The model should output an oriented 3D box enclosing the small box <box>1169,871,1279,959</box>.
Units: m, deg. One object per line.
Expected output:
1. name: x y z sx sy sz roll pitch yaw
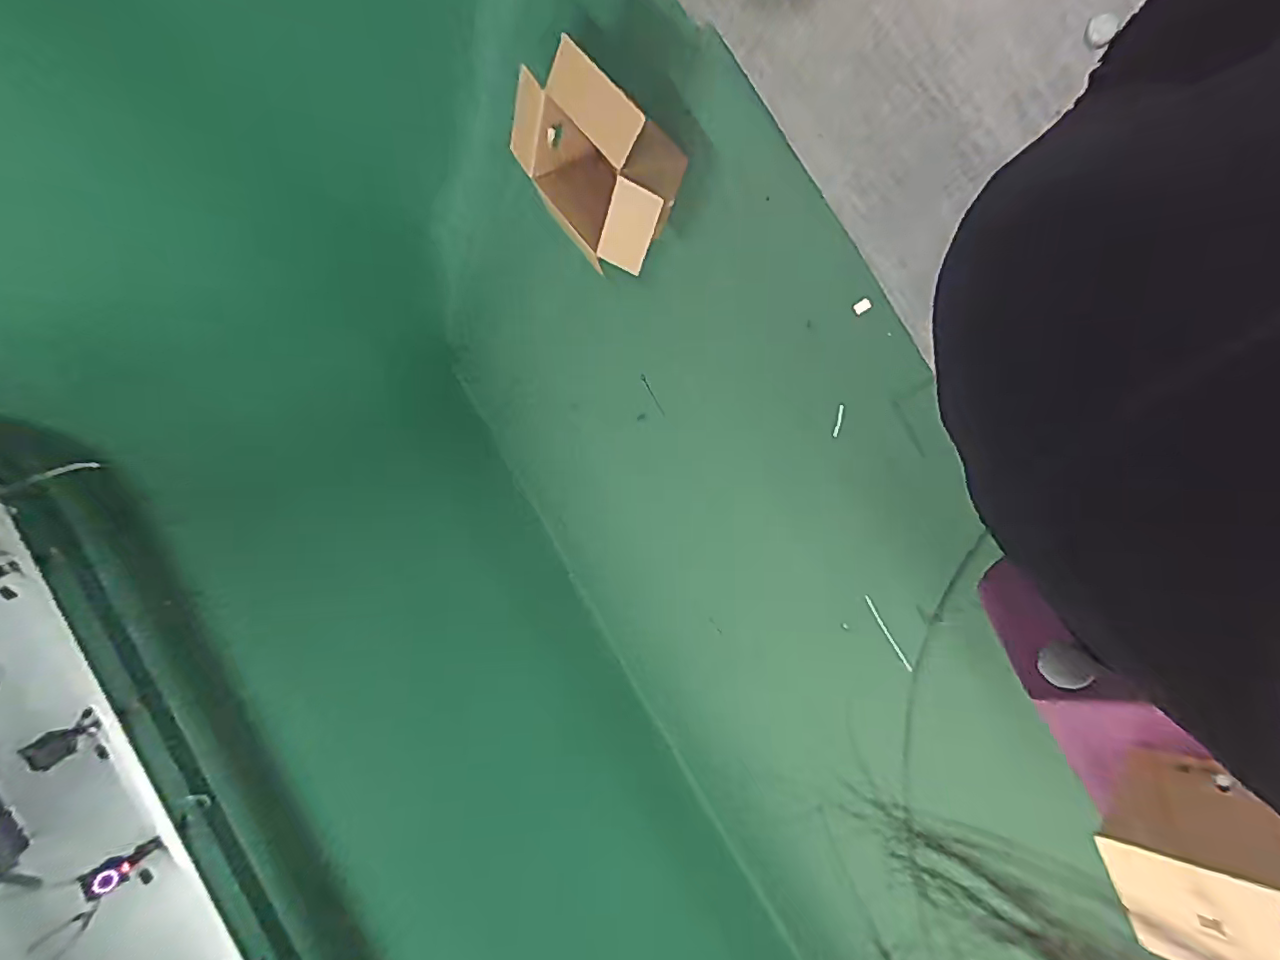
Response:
1. small box: 0.801 0.642 0.660 0.168 0.176 0.179 -22 98 57
